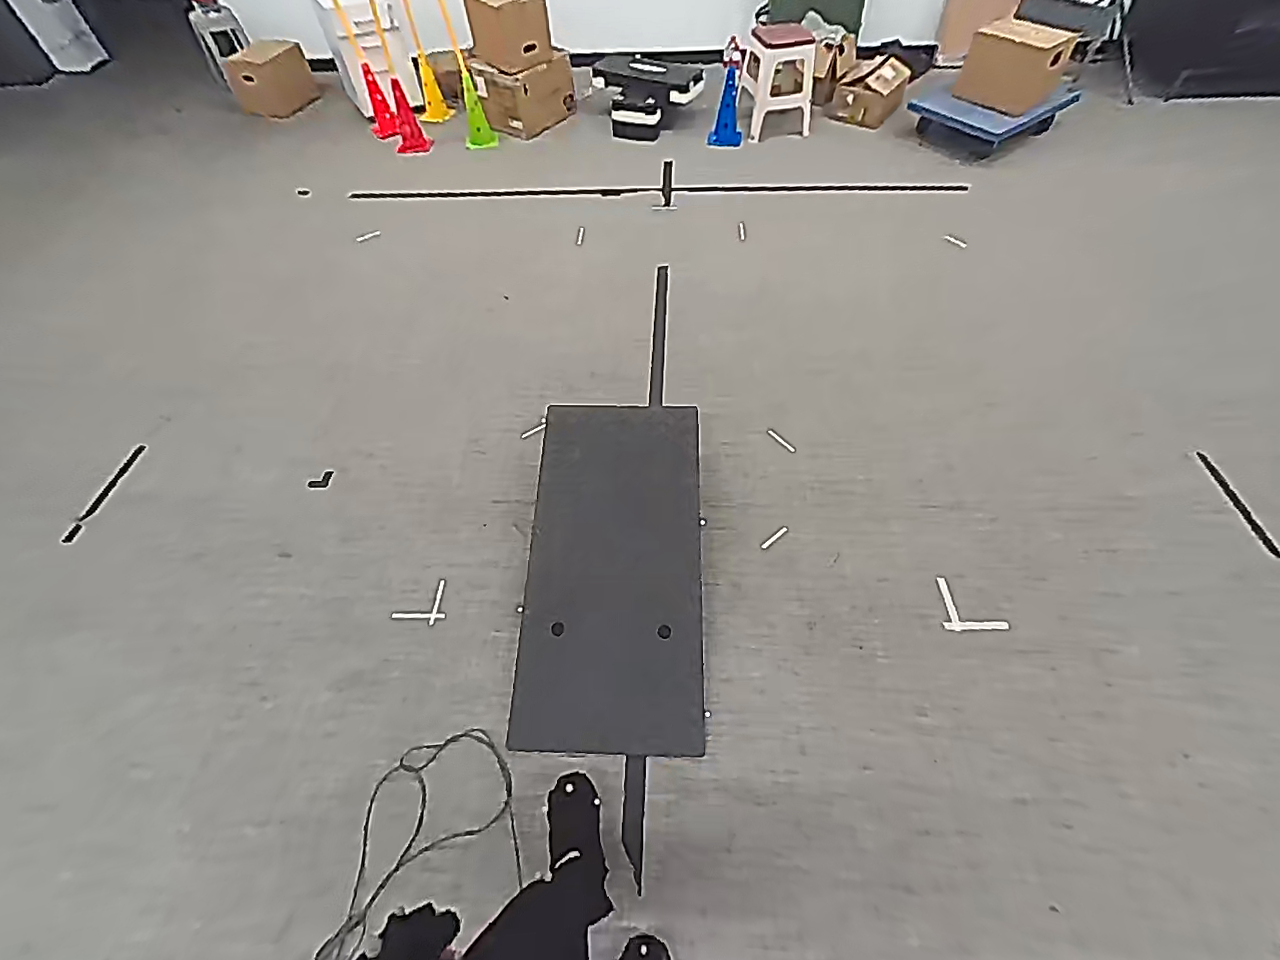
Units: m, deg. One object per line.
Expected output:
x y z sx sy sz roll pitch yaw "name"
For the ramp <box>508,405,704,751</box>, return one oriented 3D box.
-0.069 0.212 1.544 0.509 0.206 0.991 0 54 1 "ramp"
